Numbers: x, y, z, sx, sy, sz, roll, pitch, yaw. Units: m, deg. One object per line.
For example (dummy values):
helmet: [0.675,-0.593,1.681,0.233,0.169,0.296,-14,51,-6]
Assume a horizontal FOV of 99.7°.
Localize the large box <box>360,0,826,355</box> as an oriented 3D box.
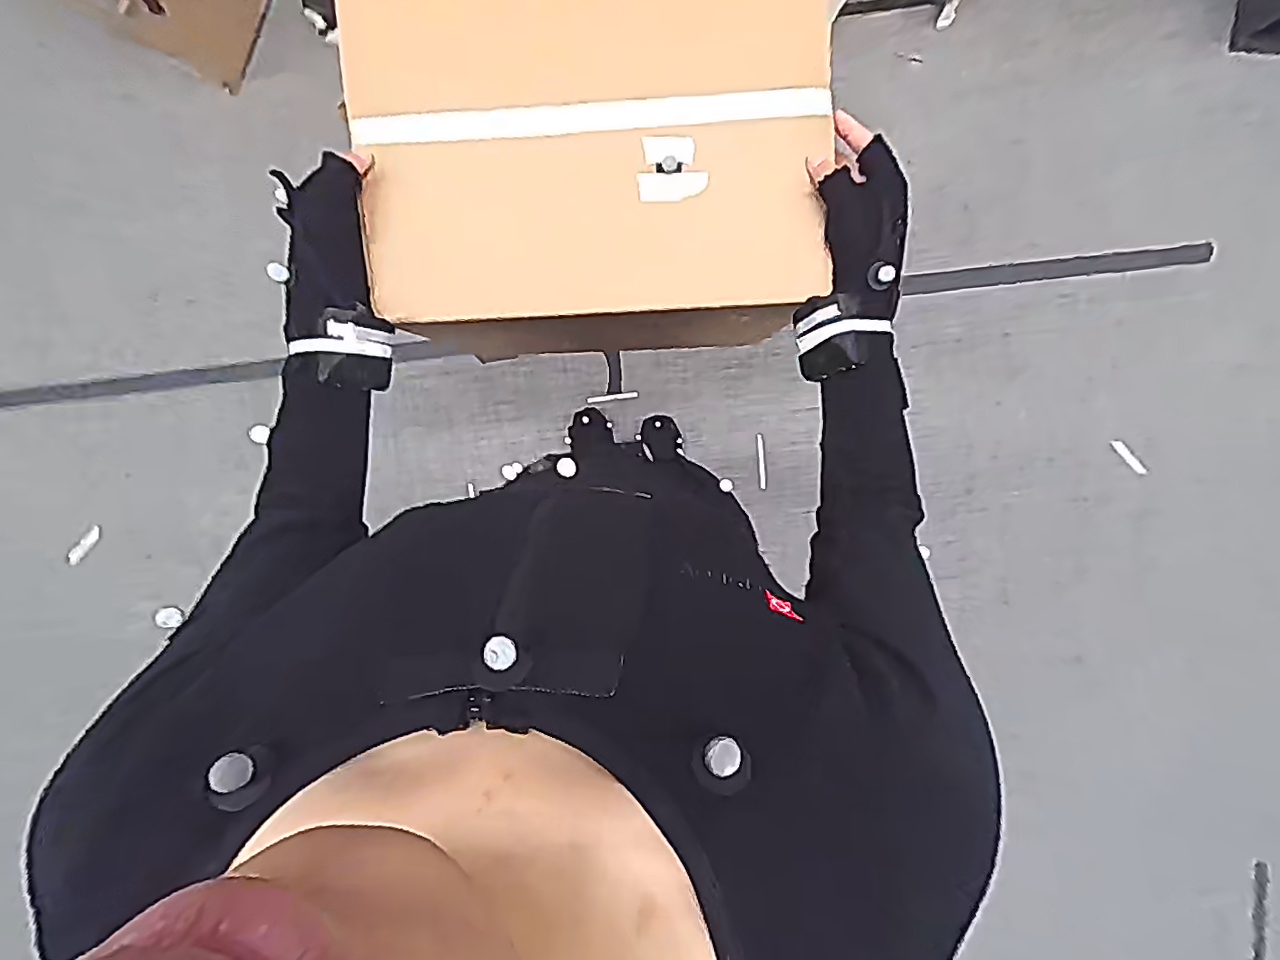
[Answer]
large box: [-0.037,-0.326,0.622,0.408,0.320,0.320,-2,98,1]
